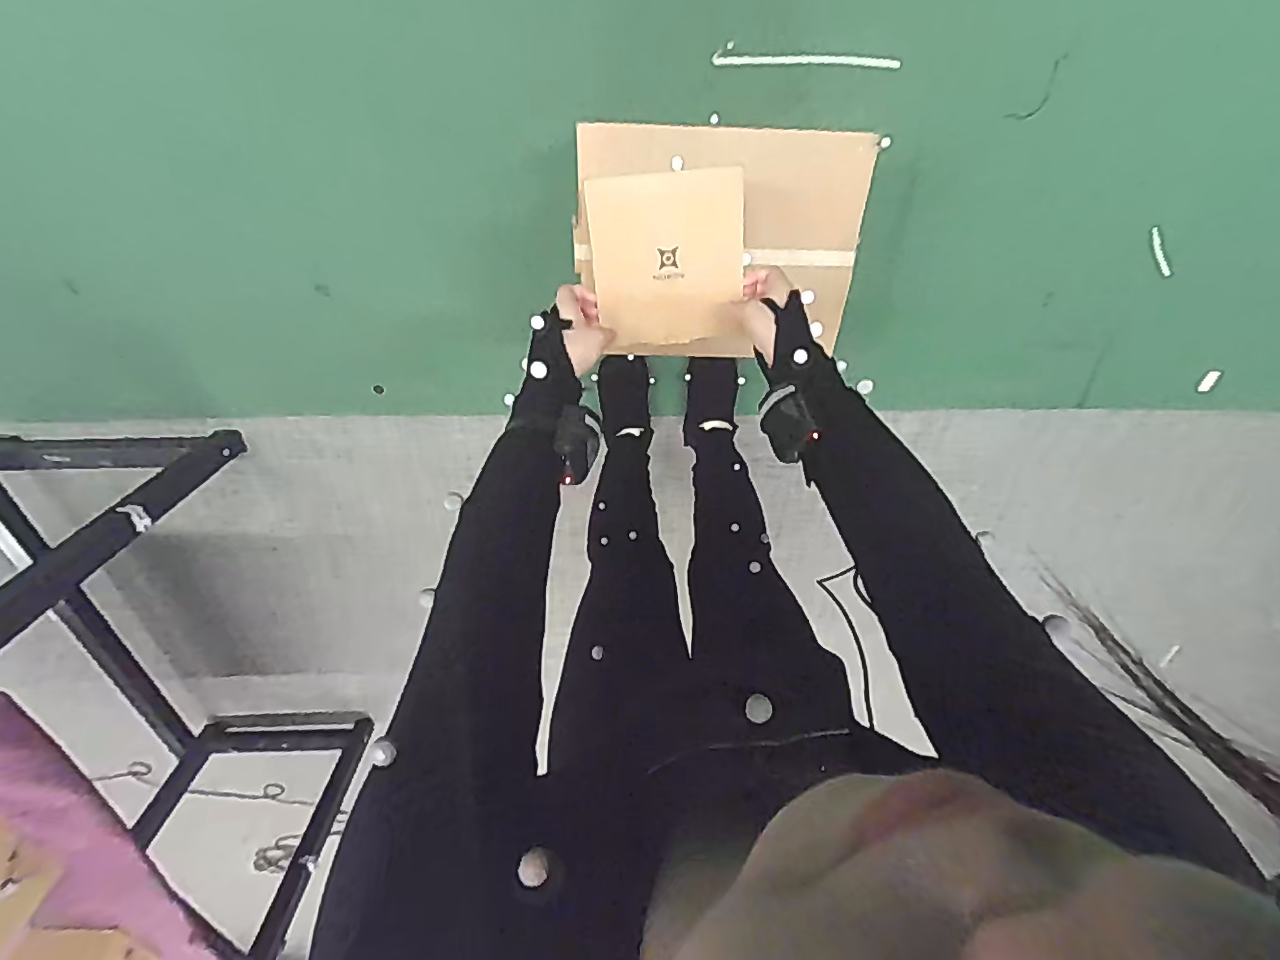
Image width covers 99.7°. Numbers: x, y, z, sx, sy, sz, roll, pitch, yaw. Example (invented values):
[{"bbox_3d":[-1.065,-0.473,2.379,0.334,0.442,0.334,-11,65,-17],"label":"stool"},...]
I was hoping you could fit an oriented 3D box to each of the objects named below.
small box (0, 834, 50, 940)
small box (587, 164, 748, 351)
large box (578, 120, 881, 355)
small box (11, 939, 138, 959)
[{"bbox_3d":[-1.024,0.617,0.757,0.179,0.176,0.168,0,122,0],"label":"small box"},{"bbox_3d":[0.029,-0.267,0.645,0.168,0.176,0.179,-5,120,1],"label":"small box"},{"bbox_3d":[0.113,-0.407,0.905,0.408,0.320,0.320,0,123,-2],"label":"large box"},{"bbox_3d":[-1.052,0.952,0.965,0.179,0.176,0.168,-1,123,2],"label":"small box"}]
